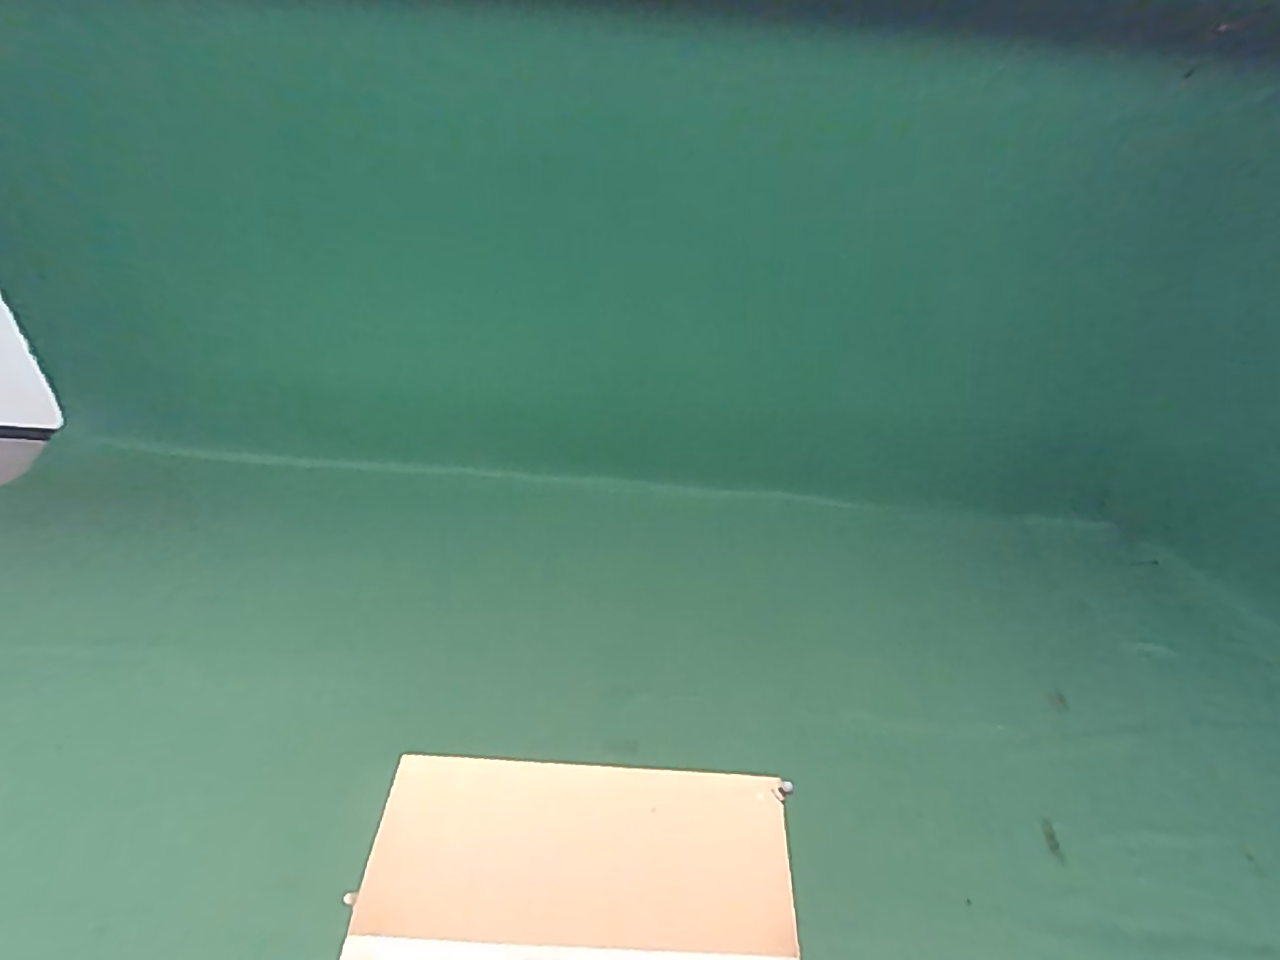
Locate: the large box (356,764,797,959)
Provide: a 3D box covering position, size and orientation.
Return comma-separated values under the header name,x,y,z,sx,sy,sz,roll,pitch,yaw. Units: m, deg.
name,x,y,z,sx,sy,sz,roll,pitch,yaw
large box,-0.065,0.528,0.595,0.408,0.320,0.320,4,50,-2
